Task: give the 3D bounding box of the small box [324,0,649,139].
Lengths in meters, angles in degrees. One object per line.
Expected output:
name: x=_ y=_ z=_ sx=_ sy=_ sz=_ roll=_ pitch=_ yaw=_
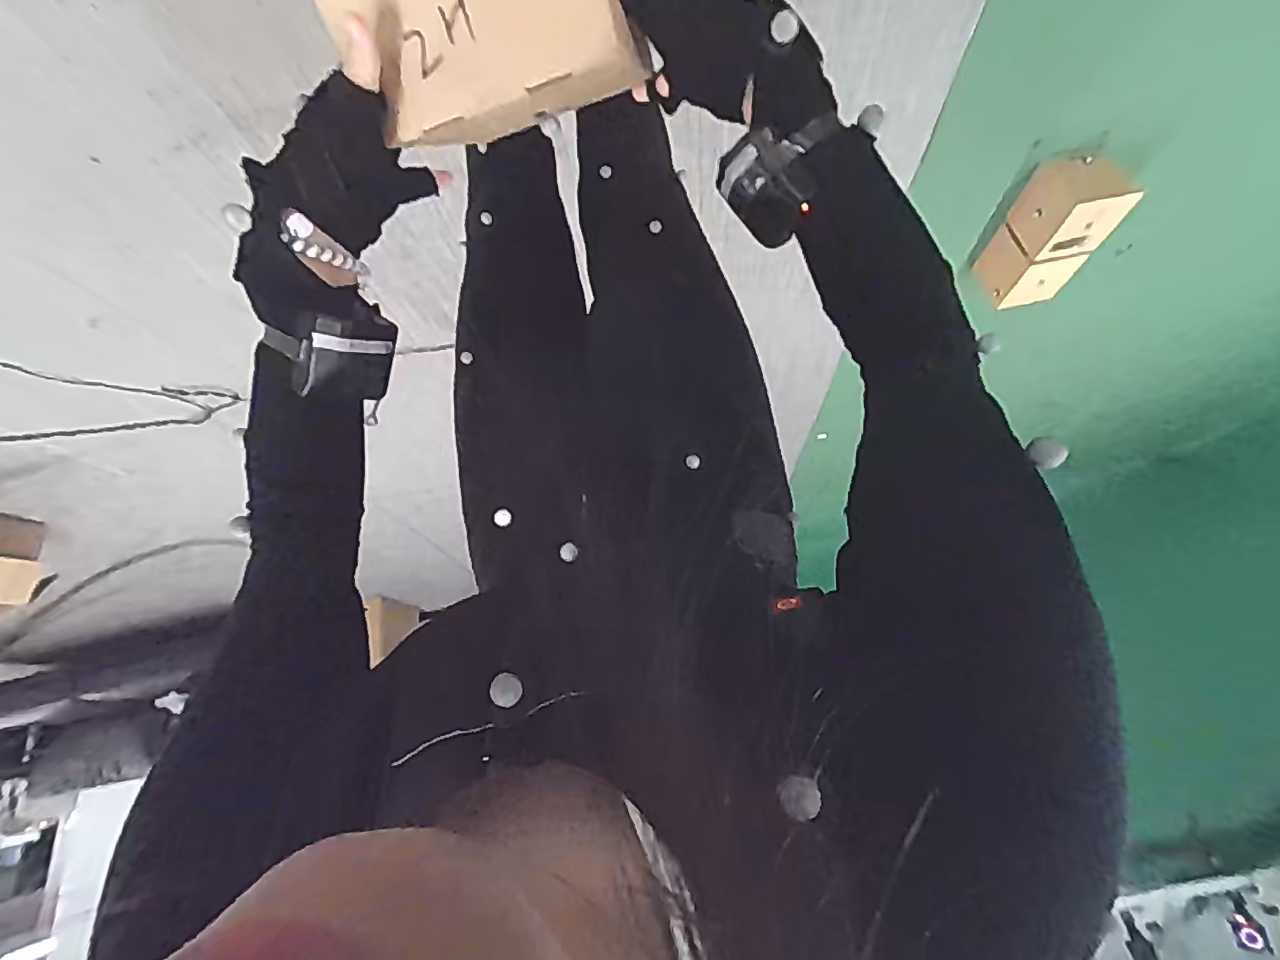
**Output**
small box: x=-0.100 y=-0.347 z=0.358 sx=0.168 sy=0.176 sz=0.179 roll=-9 pitch=121 yaw=16
